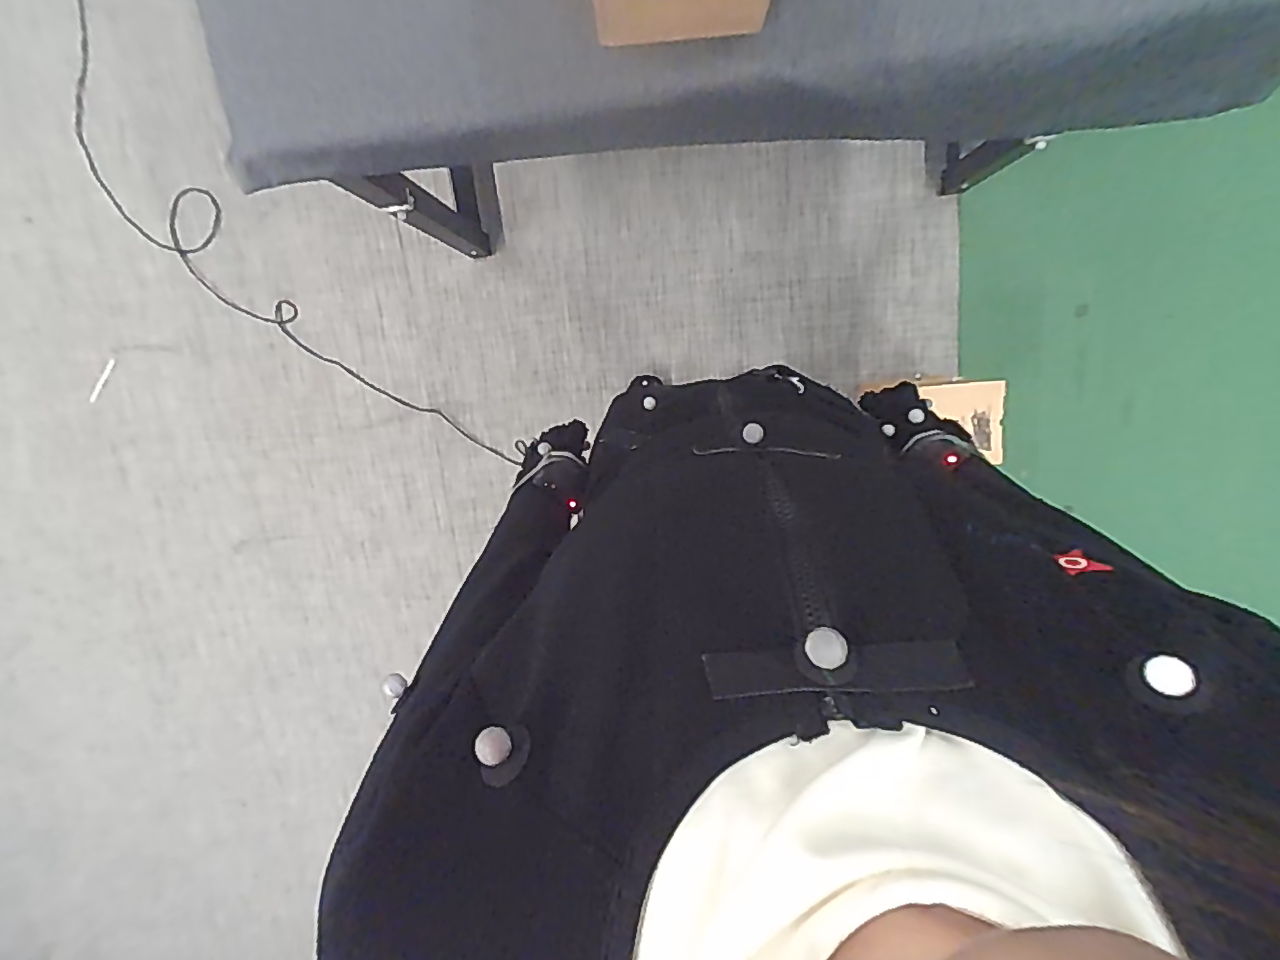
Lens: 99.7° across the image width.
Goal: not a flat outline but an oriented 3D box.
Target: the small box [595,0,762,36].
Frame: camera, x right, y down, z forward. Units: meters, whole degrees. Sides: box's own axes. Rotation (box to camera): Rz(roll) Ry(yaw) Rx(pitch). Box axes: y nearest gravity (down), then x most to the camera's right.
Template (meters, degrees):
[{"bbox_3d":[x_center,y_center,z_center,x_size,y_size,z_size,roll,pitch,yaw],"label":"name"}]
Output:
[{"bbox_3d":[0.036,-0.546,0.492,0.179,0.176,0.168,-2,101,3],"label":"small box"}]

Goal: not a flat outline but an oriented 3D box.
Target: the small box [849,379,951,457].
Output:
[{"bbox_3d":[0.619,-0.153,1.300,0.179,0.176,0.168,-5,100,5],"label":"small box"}]

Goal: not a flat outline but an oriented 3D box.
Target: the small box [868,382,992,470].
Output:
[{"bbox_3d":[0.602,-0.118,1.140,0.179,0.176,0.168,-3,100,4],"label":"small box"}]
